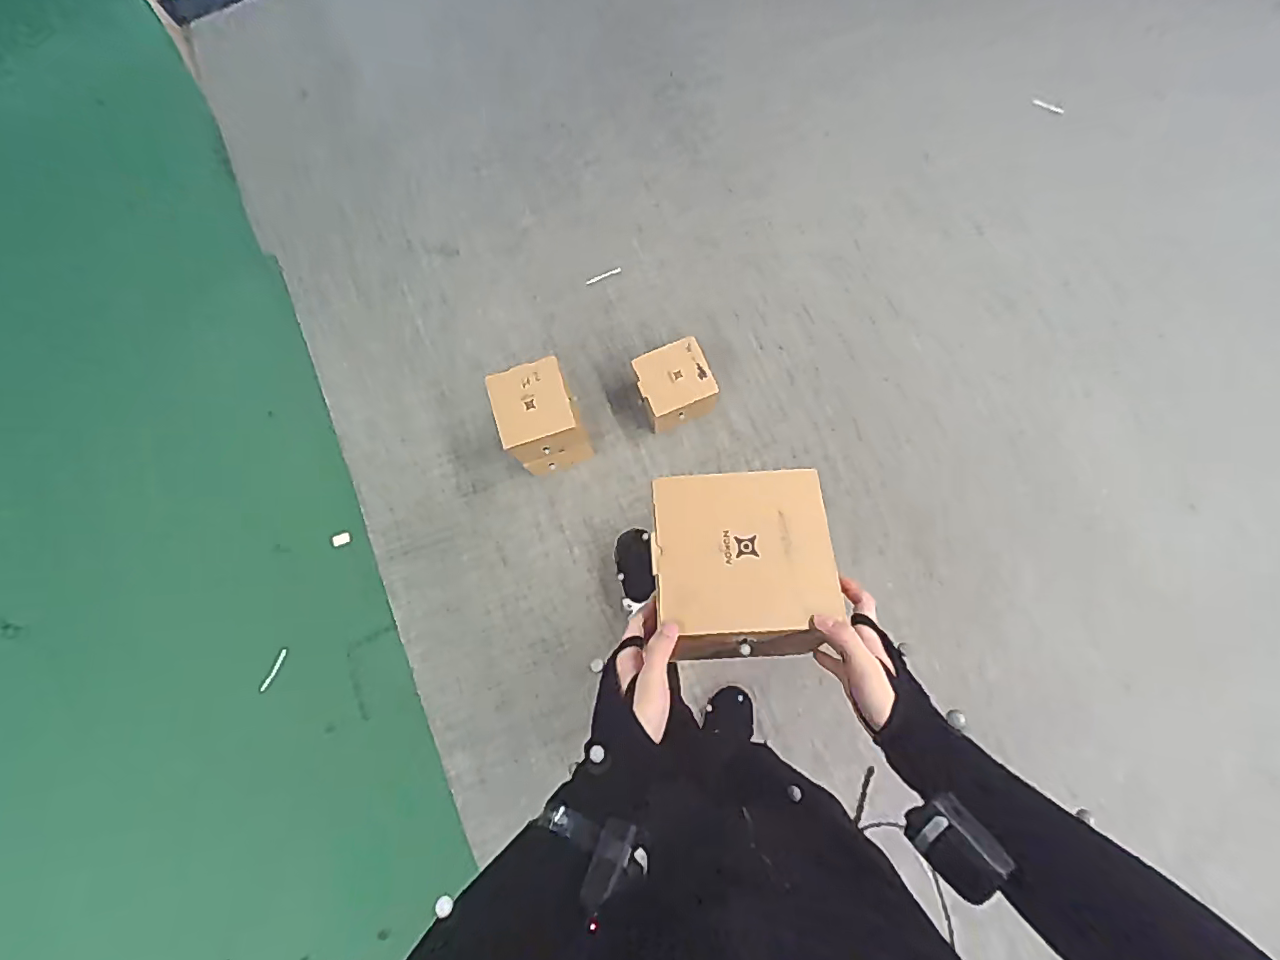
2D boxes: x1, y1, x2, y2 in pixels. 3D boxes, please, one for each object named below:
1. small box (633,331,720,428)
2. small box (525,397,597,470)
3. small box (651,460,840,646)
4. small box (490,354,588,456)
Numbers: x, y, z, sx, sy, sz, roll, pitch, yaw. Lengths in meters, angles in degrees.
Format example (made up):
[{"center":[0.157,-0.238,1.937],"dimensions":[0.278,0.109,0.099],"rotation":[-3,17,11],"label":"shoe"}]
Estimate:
[{"center":[0.098,-0.256,1.427],"dimensions":[0.179,0.176,0.168],"rotation":[-23,80,0],"label":"small box"},{"center":[-0.222,-0.135,1.426],"dimensions":[0.168,0.176,0.179],"rotation":[-20,79,0],"label":"small box"},{"center":[0.106,0.091,0.613],"dimensions":[0.179,0.176,0.168],"rotation":[-3,64,3],"label":"small box"},{"center":[-0.228,-0.164,1.264],"dimensions":[0.168,0.176,0.179],"rotation":[-18,79,0],"label":"small box"}]
